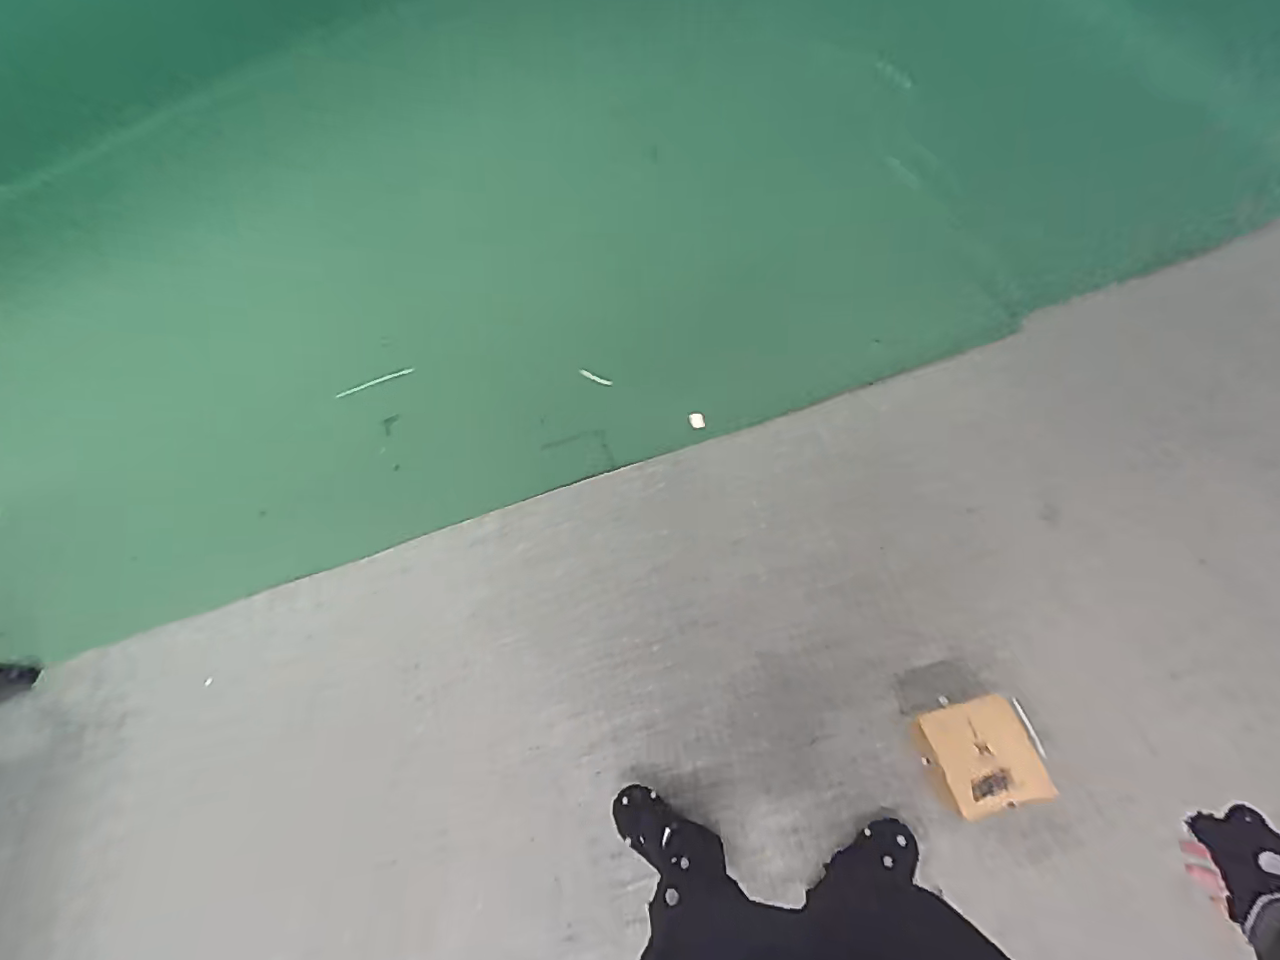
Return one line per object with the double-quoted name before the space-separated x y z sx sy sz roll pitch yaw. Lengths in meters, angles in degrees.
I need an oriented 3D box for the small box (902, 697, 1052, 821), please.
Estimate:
"small box" 0.641 0.538 1.054 0.168 0.176 0.179 -18 61 5
